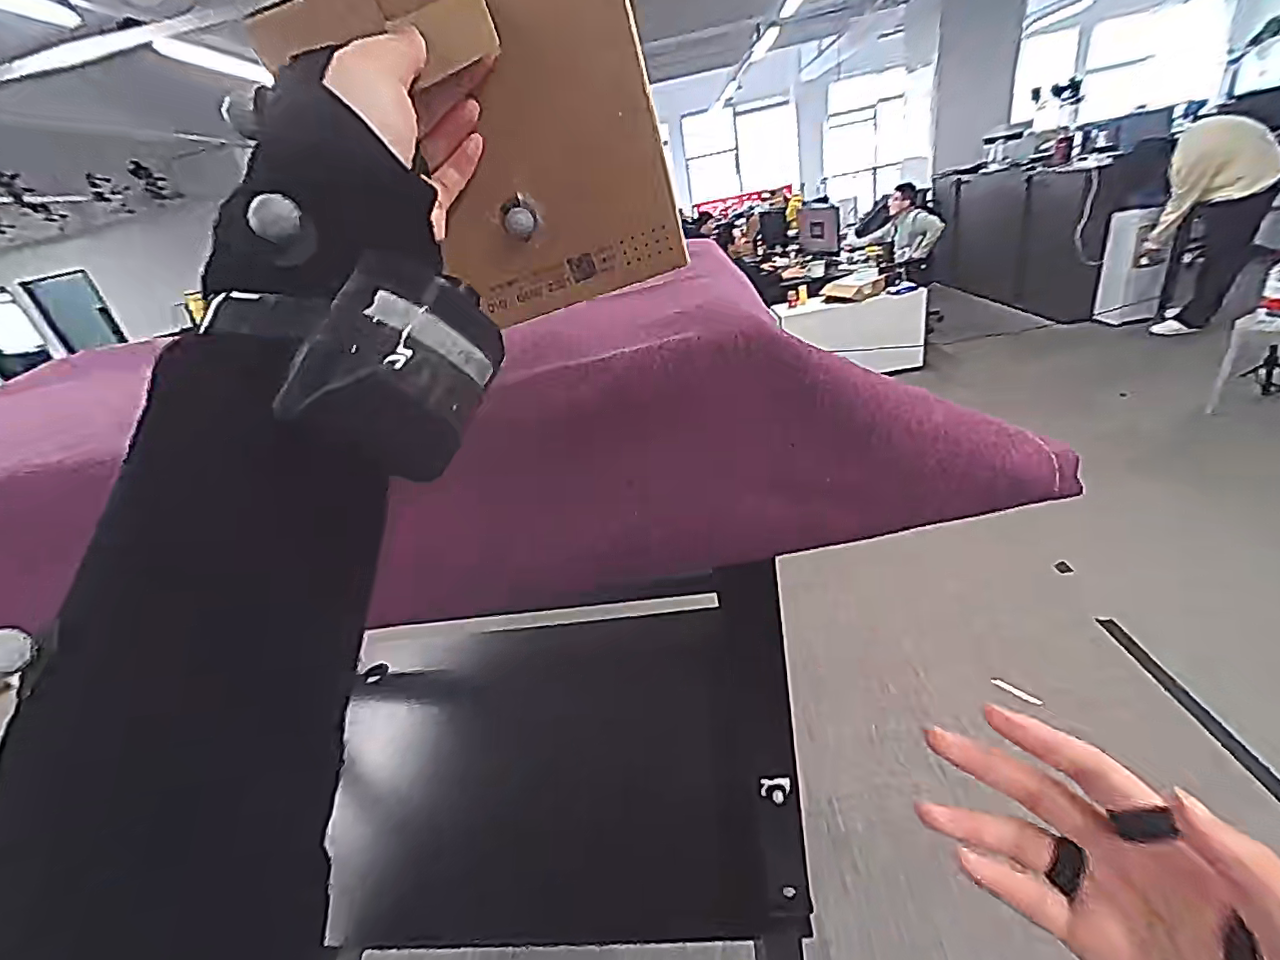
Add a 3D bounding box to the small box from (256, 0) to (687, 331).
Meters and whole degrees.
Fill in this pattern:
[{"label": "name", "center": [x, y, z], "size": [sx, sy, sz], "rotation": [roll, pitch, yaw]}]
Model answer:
[{"label": "small box", "center": [-0.077, -0.220, 0.342], "size": [0.168, 0.176, 0.179], "rotation": [-17, 40, 6]}]
